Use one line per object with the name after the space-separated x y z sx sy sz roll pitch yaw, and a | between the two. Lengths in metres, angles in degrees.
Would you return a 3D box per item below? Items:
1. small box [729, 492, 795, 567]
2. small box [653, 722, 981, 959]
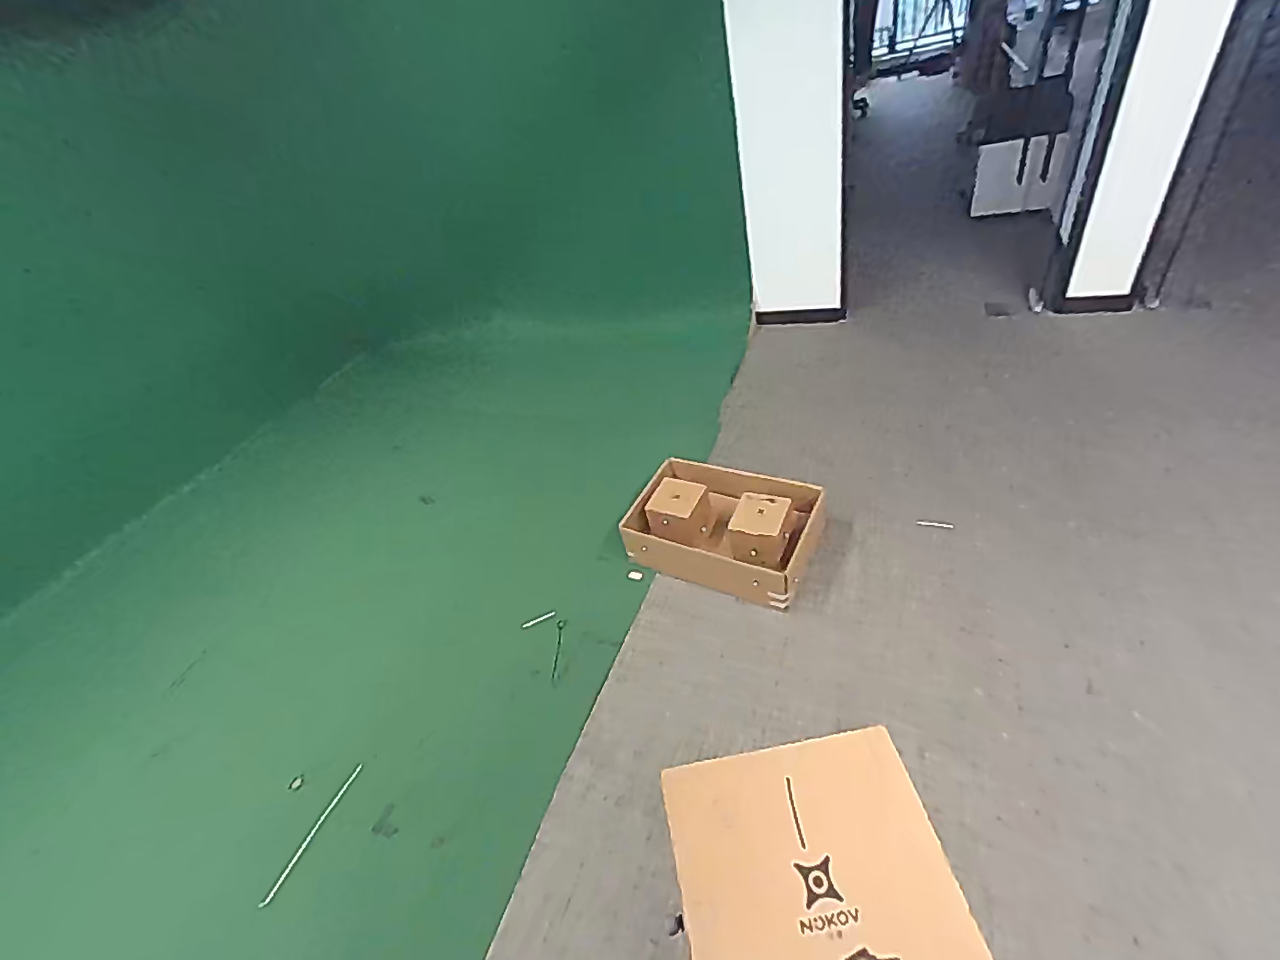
0.415 0.166 1.807 0.168 0.176 0.179 9 48 28 | small box
0.108 0.300 0.382 0.168 0.176 0.179 -10 47 -3 | small box
